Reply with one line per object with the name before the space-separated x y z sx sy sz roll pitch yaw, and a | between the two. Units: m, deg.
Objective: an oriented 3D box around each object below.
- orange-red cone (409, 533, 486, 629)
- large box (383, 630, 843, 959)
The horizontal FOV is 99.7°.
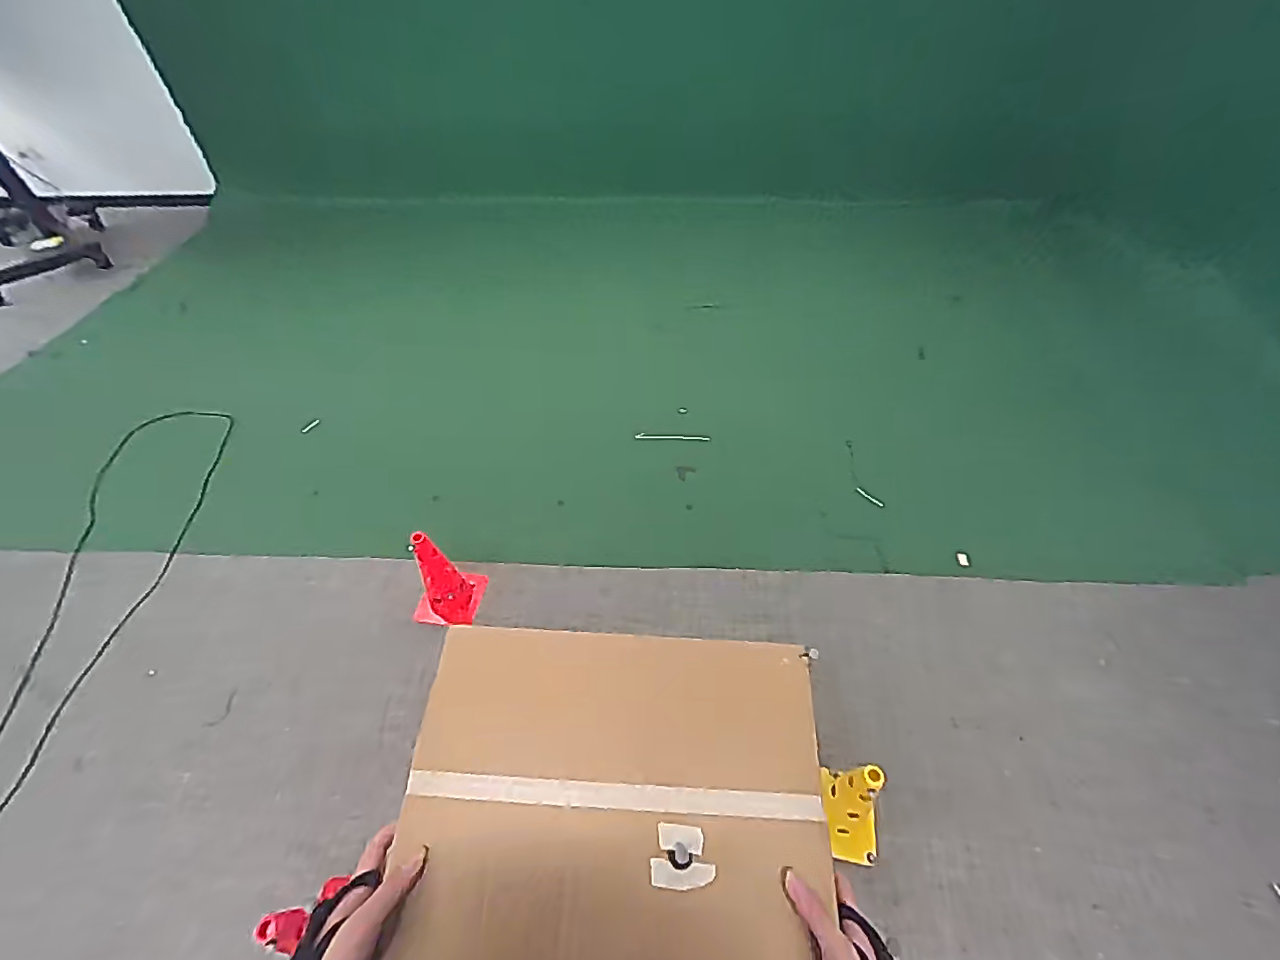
orange-red cone | -0.646 0.288 1.692 0.199 0.360 0.198 6 48 9
large box | -0.021 0.388 0.658 0.408 0.320 0.320 2 58 1
